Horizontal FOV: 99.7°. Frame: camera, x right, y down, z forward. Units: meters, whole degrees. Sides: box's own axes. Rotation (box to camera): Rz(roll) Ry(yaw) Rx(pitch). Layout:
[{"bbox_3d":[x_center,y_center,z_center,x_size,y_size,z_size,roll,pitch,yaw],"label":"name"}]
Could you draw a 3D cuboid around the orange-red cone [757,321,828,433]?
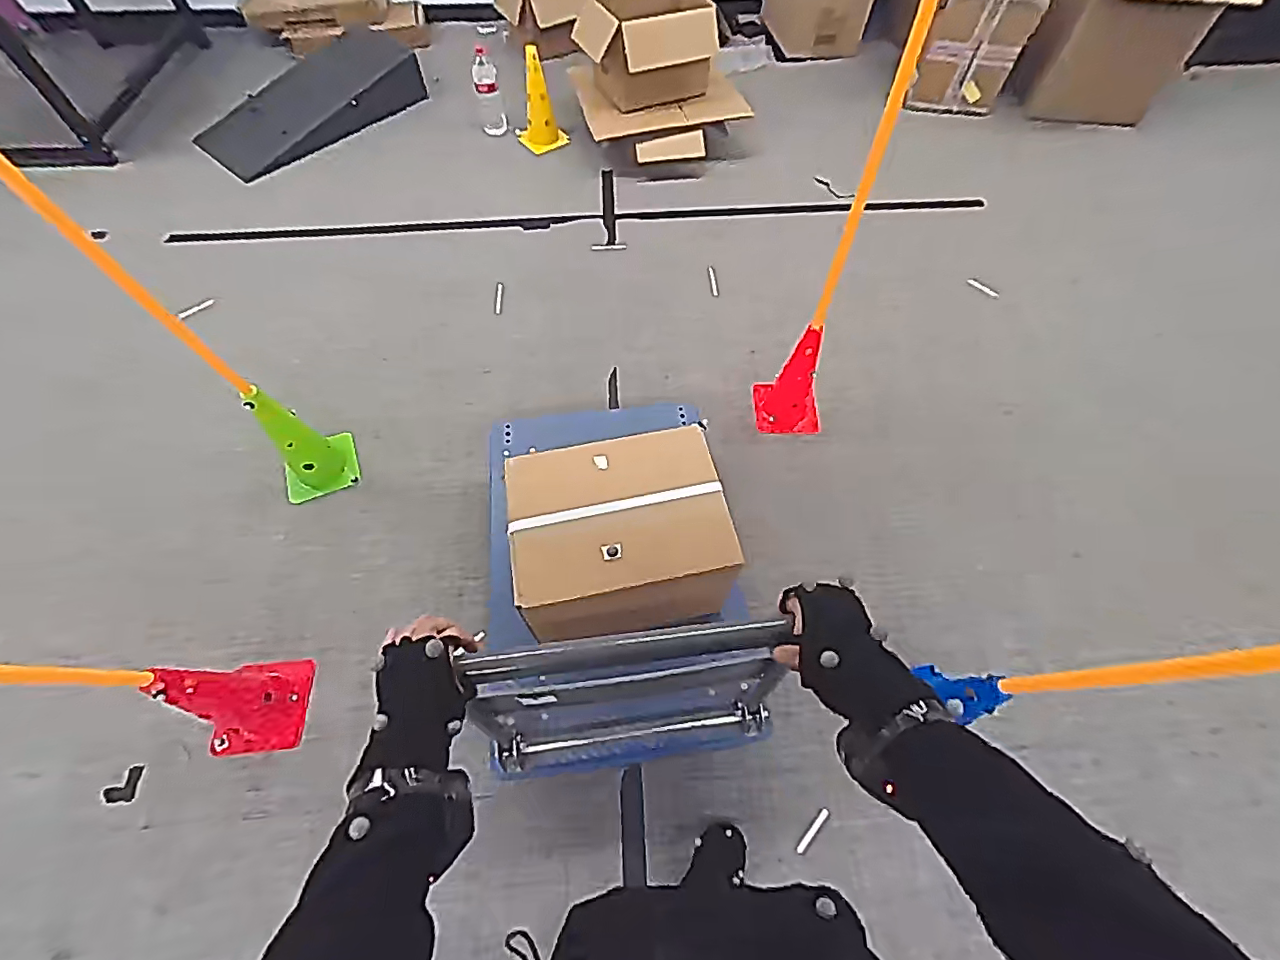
[{"bbox_3d":[0.476,-0.319,1.575,0.199,0.360,0.198,3,60,0],"label":"orange-red cone"}]
